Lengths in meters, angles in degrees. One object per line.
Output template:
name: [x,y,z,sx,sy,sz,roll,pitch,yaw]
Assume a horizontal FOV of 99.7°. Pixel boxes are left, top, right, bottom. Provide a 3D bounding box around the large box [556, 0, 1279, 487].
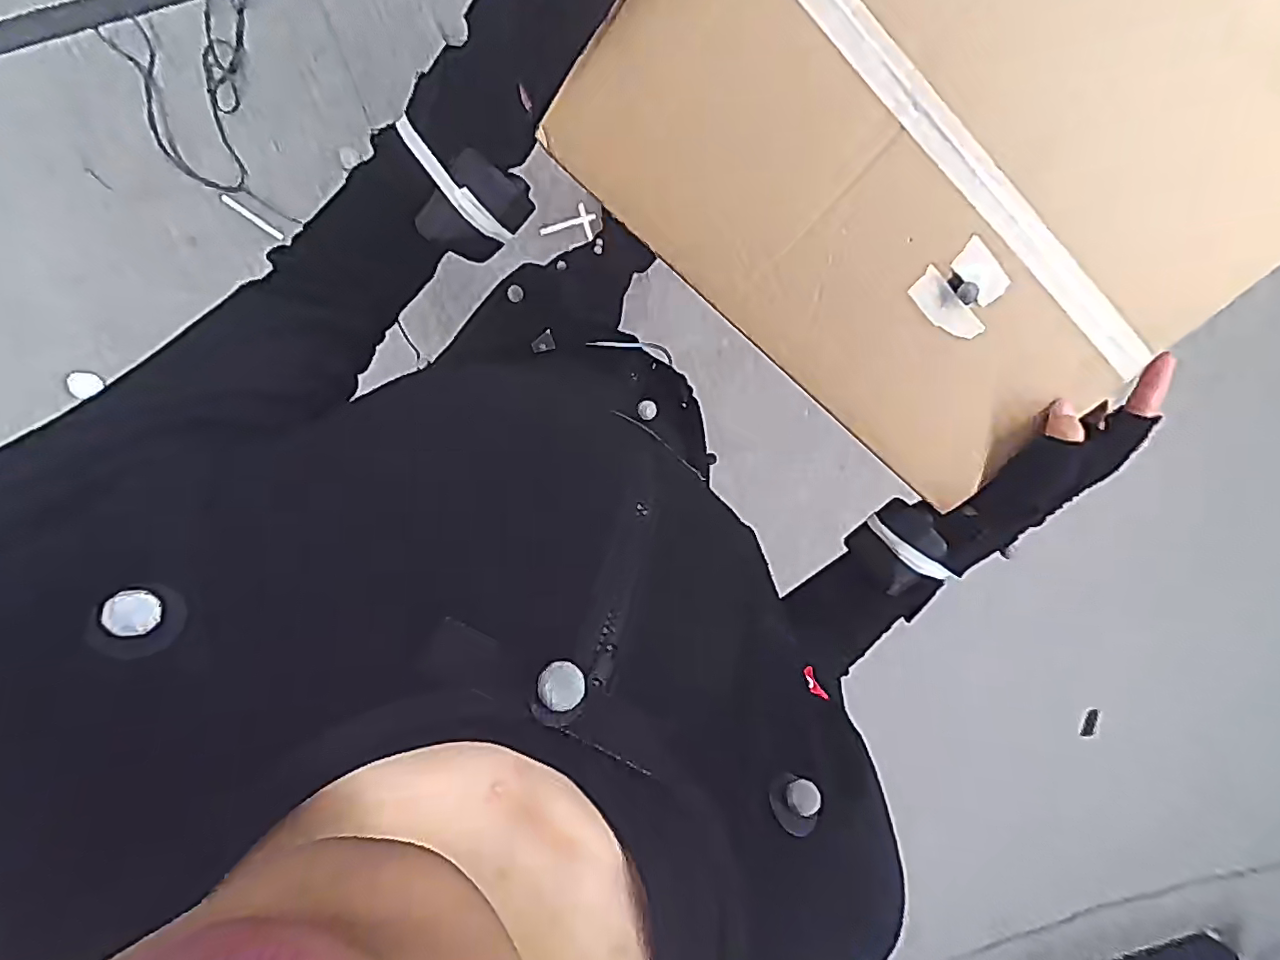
large box: [0.198,-0.276,0.466,0.408,0.320,0.320,38,115,-16]
